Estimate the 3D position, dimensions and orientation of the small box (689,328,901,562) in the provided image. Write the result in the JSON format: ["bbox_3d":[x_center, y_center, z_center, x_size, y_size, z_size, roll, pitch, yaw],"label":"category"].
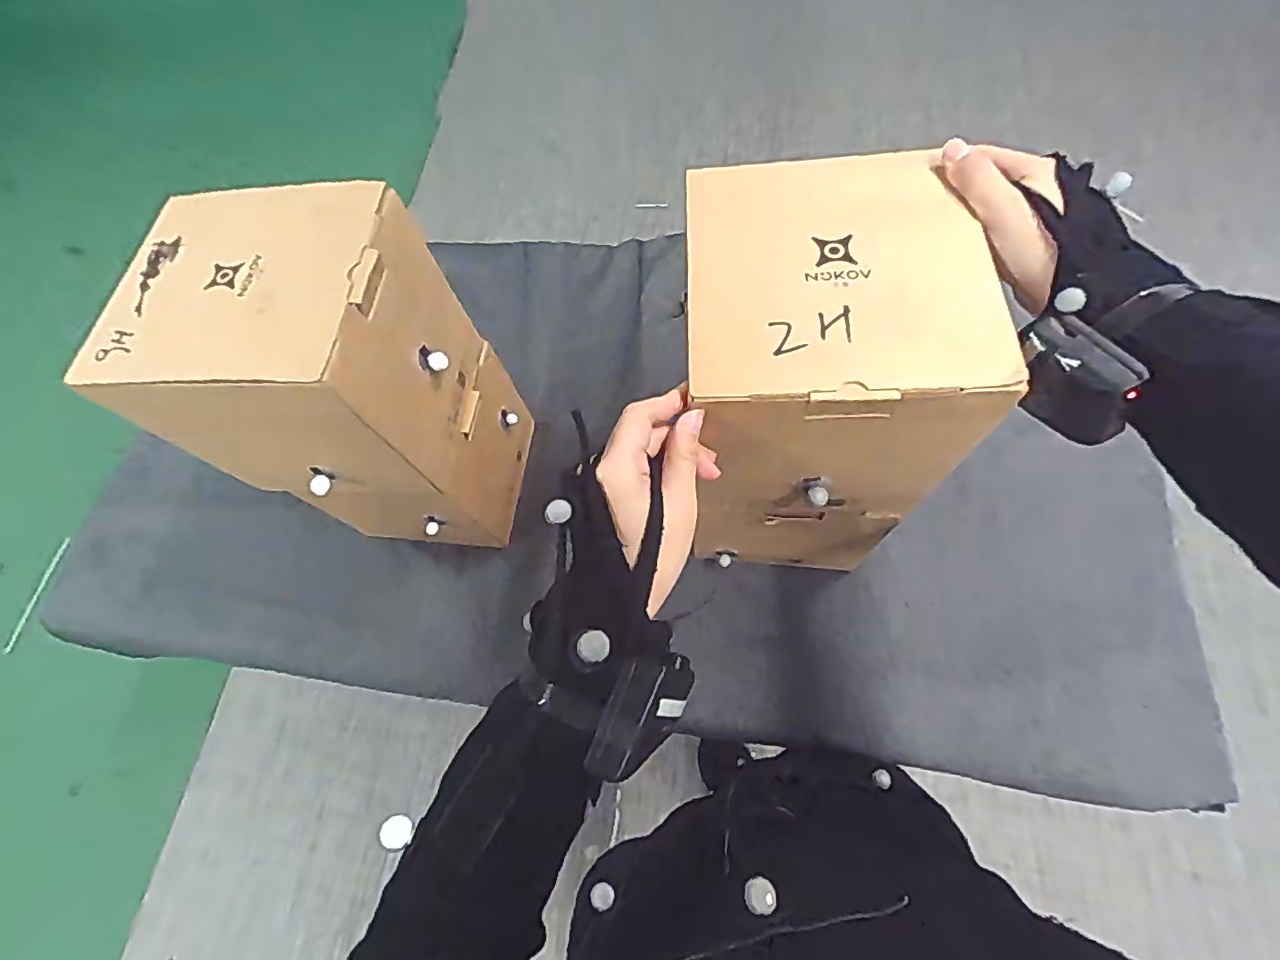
[{"bbox_3d":[0.140,-0.026,0.531,0.168,0.176,0.179,3,66,8],"label":"small box"}]

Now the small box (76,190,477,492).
[{"bbox_3d":[-0.249,-0.098,0.428,0.179,0.176,0.168,1,65,6],"label":"small box"}]

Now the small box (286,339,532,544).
[{"bbox_3d":[-0.231,-0.036,0.580,0.179,0.176,0.168,3,65,9],"label":"small box"}]
